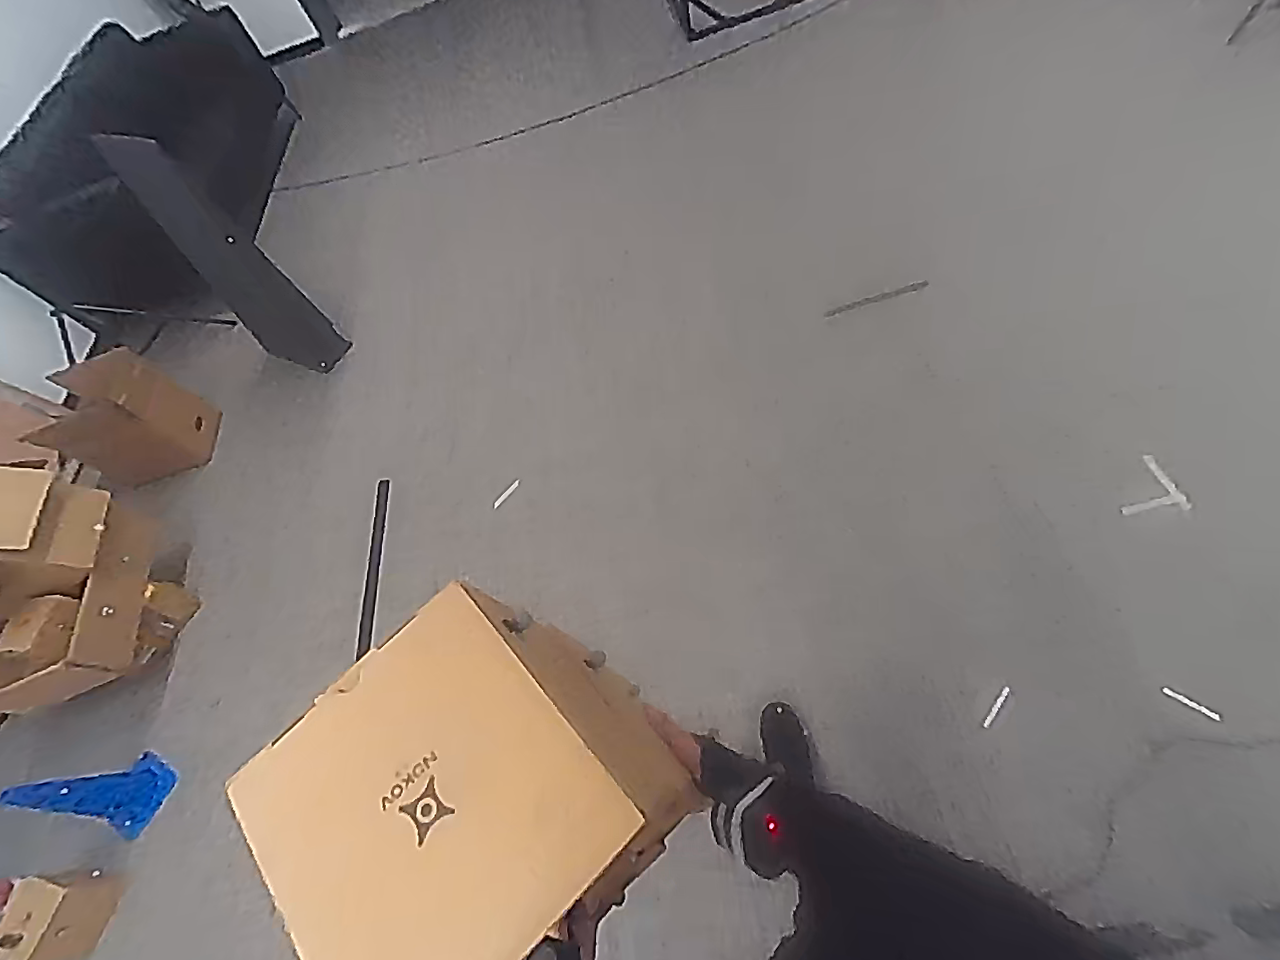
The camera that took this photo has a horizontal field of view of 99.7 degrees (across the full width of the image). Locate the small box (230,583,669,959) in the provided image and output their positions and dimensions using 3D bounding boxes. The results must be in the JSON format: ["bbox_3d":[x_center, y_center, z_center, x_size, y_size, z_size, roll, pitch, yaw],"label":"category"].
[{"bbox_3d":[-0.099,0.199,0.351,0.168,0.176,0.179,-43,65,-11],"label":"small box"}]

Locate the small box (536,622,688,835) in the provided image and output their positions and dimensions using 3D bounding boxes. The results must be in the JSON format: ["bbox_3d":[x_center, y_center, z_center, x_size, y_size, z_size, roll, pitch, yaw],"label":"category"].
[{"bbox_3d":[-0.074,0.265,0.498,0.168,0.176,0.179,-41,65,-10],"label":"small box"}]
